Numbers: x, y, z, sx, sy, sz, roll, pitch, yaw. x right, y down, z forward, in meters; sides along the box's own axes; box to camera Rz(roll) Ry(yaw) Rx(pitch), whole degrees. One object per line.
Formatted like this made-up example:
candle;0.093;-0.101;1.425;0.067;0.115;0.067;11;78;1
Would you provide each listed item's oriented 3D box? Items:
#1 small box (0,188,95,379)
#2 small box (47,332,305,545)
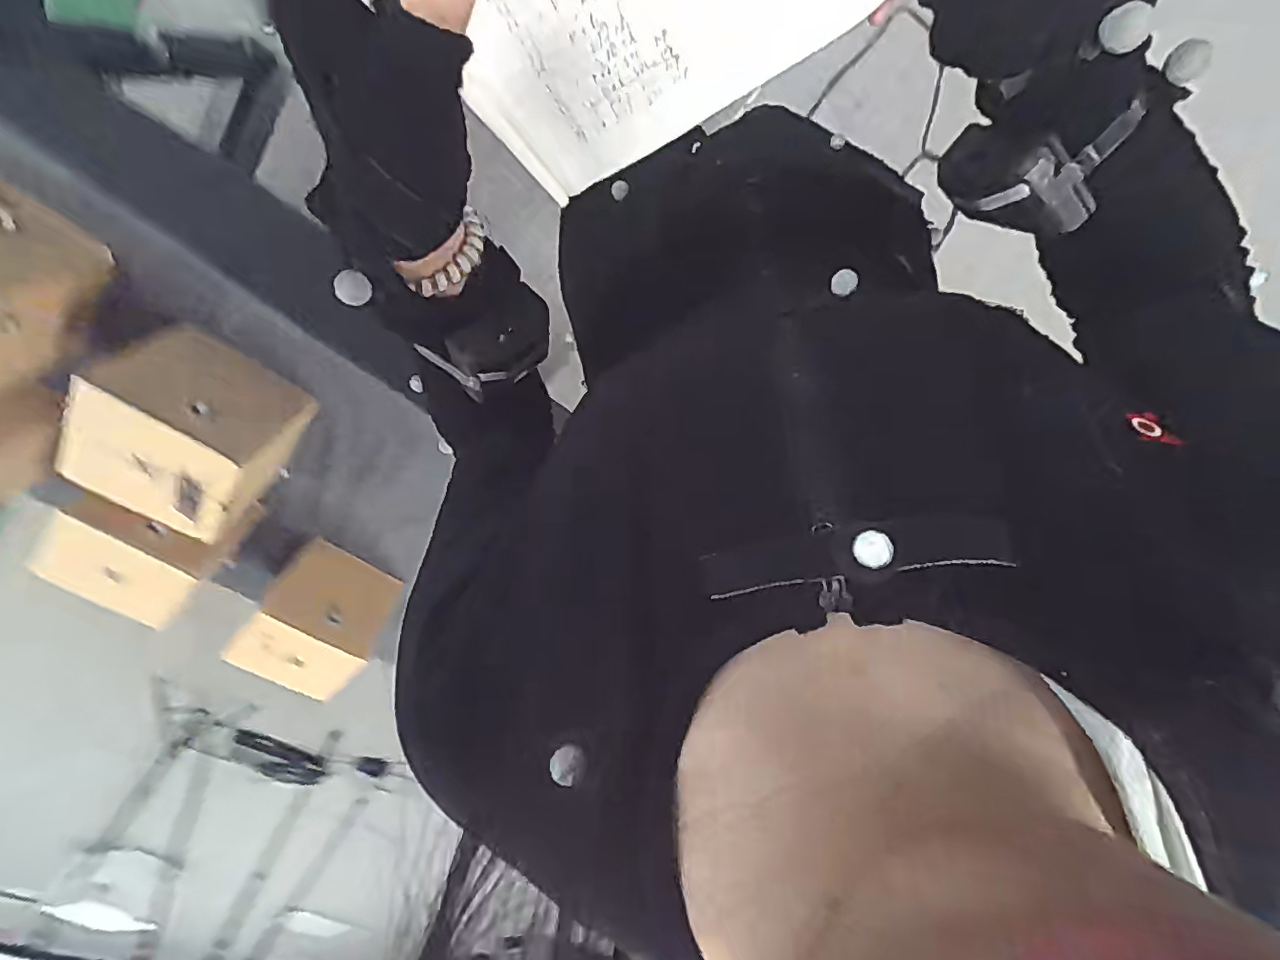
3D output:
small box;-0.749;-0.212;0.575;0.168;0.176;0.179;39;119;-24
small box;-0.568;-0.056;0.684;0.179;0.176;0.168;34;121;-21
